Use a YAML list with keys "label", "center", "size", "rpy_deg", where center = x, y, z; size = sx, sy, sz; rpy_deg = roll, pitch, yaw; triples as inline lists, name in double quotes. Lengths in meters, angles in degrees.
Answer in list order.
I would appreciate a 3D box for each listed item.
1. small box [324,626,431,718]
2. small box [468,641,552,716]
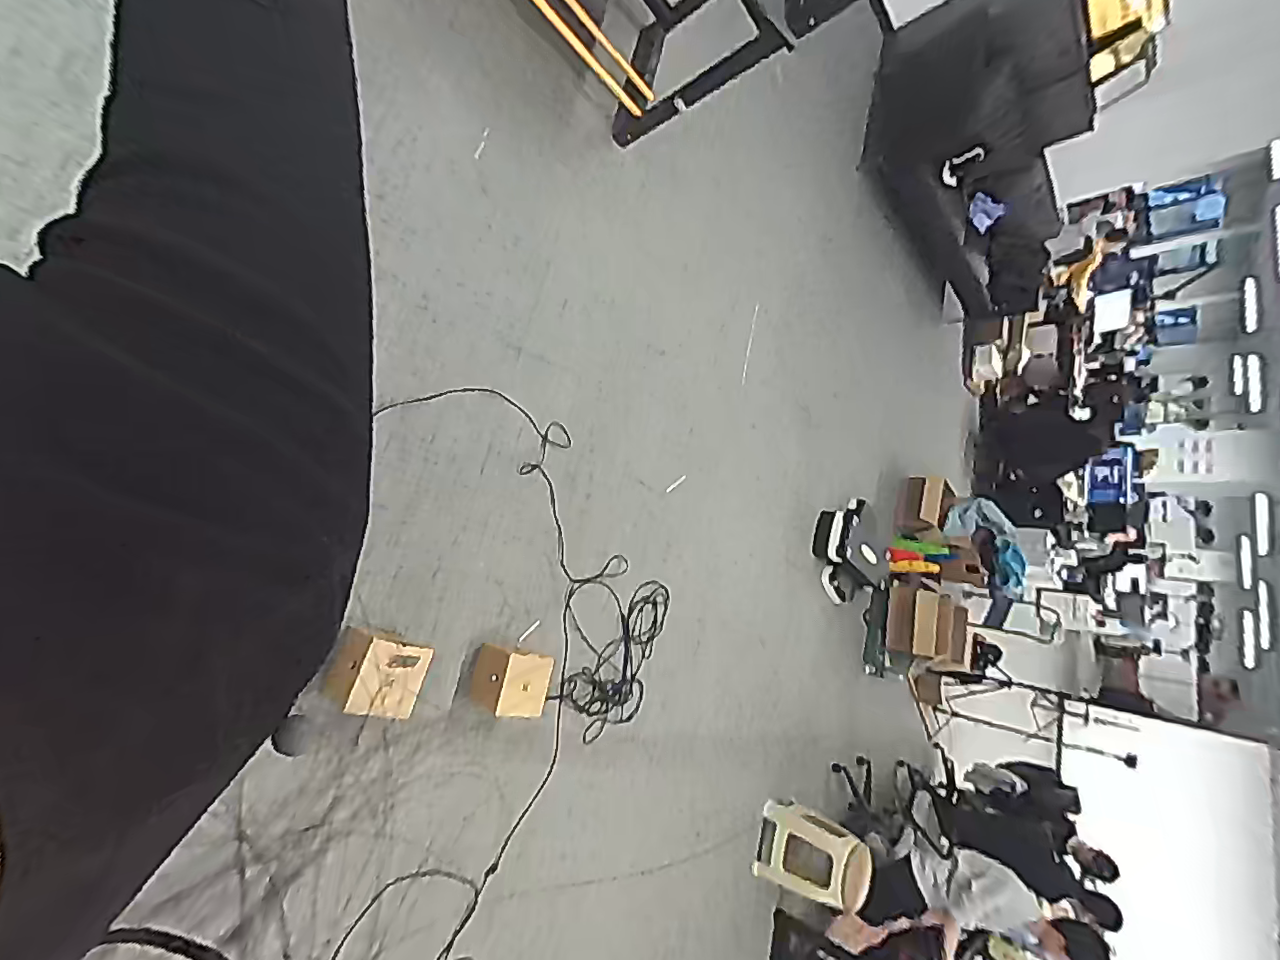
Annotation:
- label: "small box"
  center: [-0.669, 0.483, 1.373]
  size: [0.168, 0.176, 0.179]
  rpy_deg: [31, 68, -41]
- label: "small box"
  center: [-0.401, 0.603, 1.649]
  size: [0.168, 0.176, 0.179]
  rpy_deg: [25, 72, -43]
